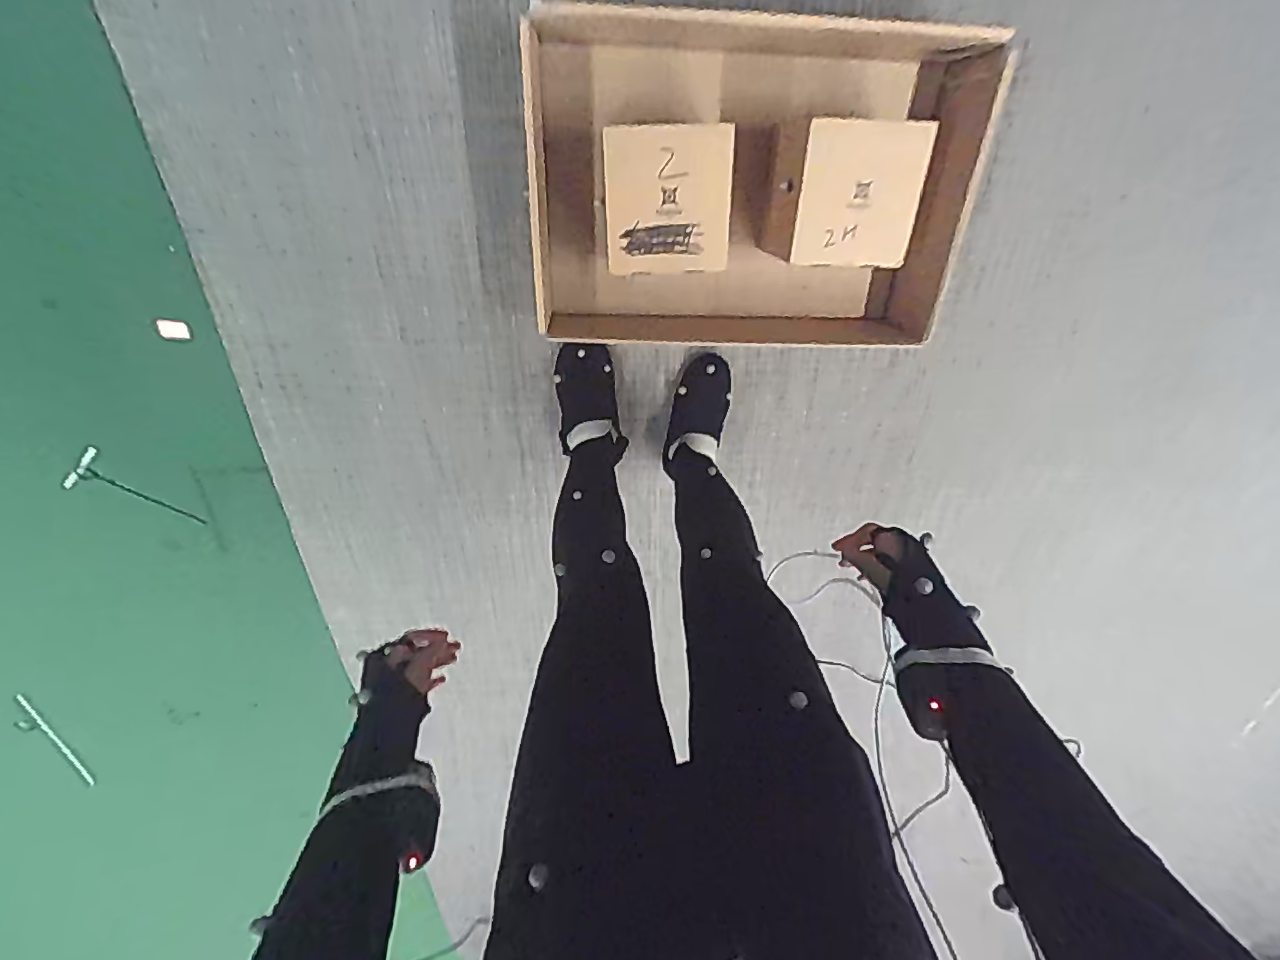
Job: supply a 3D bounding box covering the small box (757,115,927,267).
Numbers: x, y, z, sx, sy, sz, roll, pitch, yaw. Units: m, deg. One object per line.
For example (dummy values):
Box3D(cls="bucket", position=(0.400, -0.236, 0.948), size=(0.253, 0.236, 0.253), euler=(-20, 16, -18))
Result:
Box3D(cls="small box", position=(0.279, -0.419, 0.792), size=(0.168, 0.176, 0.179), euler=(0, 120, -3))
